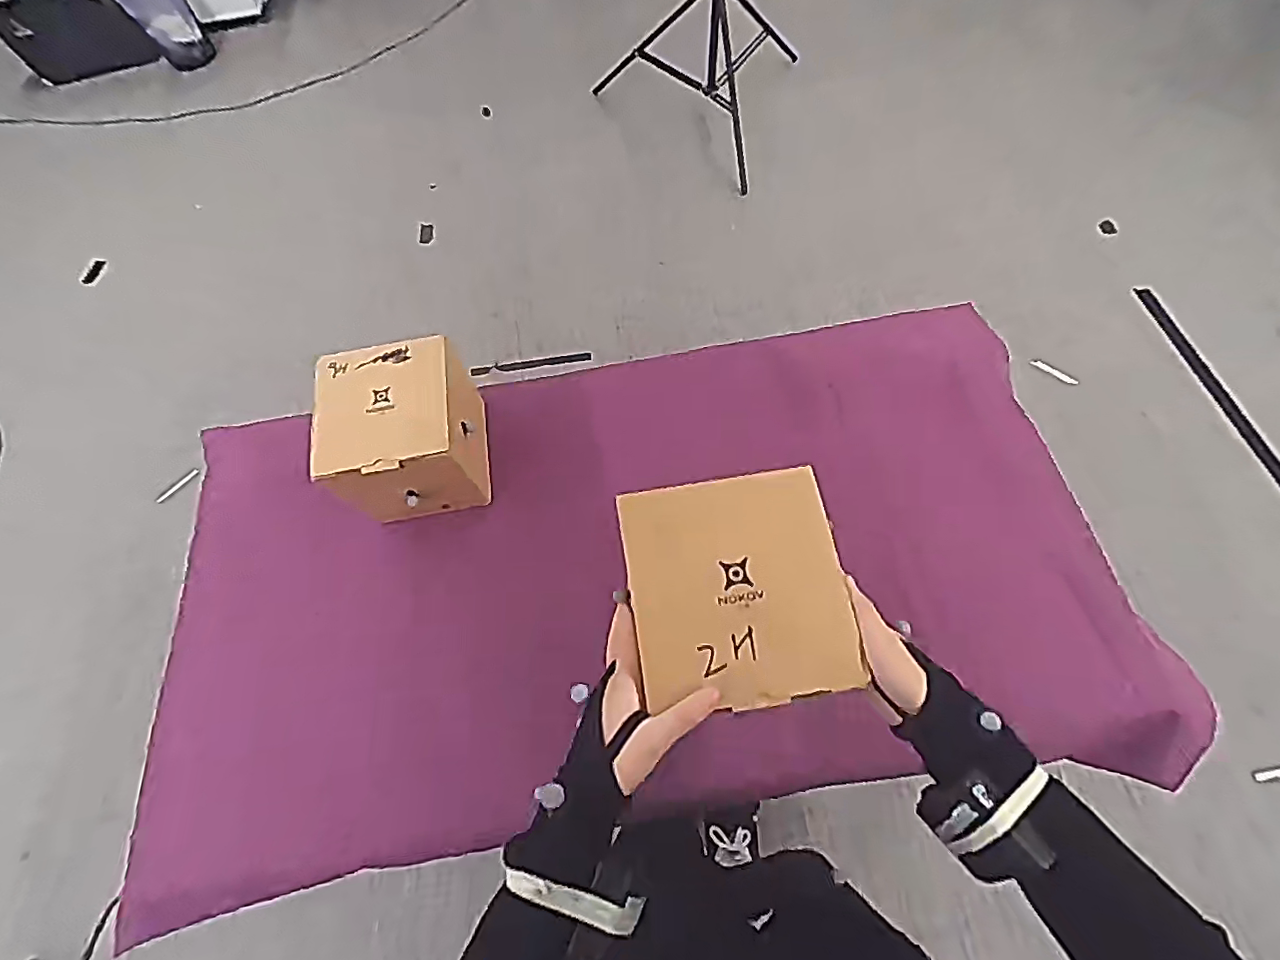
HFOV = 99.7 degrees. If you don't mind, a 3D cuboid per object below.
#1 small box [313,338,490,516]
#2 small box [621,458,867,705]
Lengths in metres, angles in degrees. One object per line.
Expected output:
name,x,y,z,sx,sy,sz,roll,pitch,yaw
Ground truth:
small box,-0.310,-0.060,0.735,0.168,0.176,0.179,-10,67,-2
small box,0.075,0.100,0.494,0.168,0.176,0.179,-9,70,-1
